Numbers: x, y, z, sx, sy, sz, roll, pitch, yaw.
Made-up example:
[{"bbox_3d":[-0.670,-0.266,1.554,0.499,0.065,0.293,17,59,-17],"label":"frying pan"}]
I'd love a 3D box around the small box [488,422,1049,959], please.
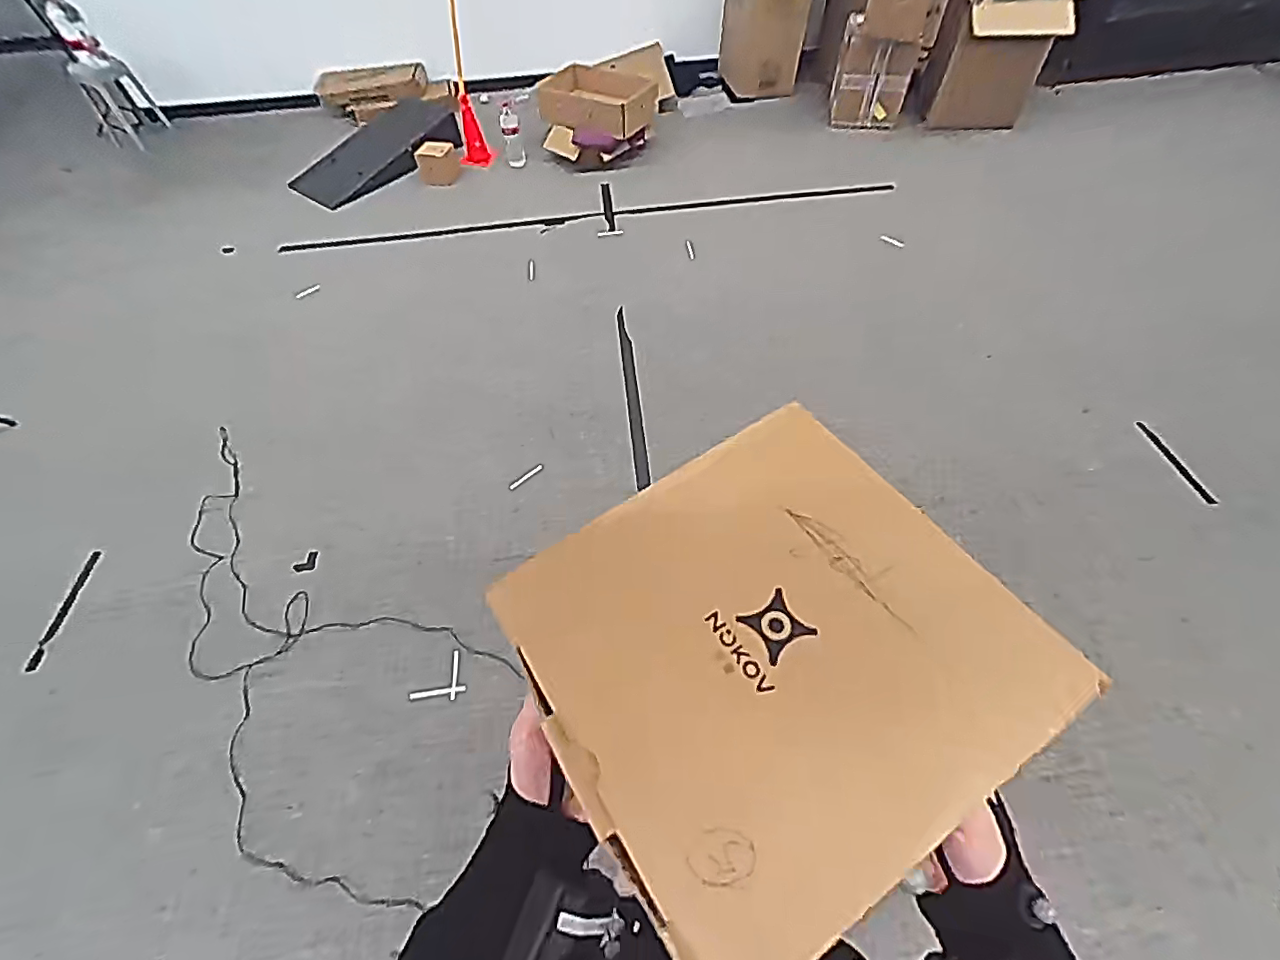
[{"bbox_3d":[0.051,0.109,0.293,0.179,0.176,0.168,-31,61,-16],"label":"small box"}]
